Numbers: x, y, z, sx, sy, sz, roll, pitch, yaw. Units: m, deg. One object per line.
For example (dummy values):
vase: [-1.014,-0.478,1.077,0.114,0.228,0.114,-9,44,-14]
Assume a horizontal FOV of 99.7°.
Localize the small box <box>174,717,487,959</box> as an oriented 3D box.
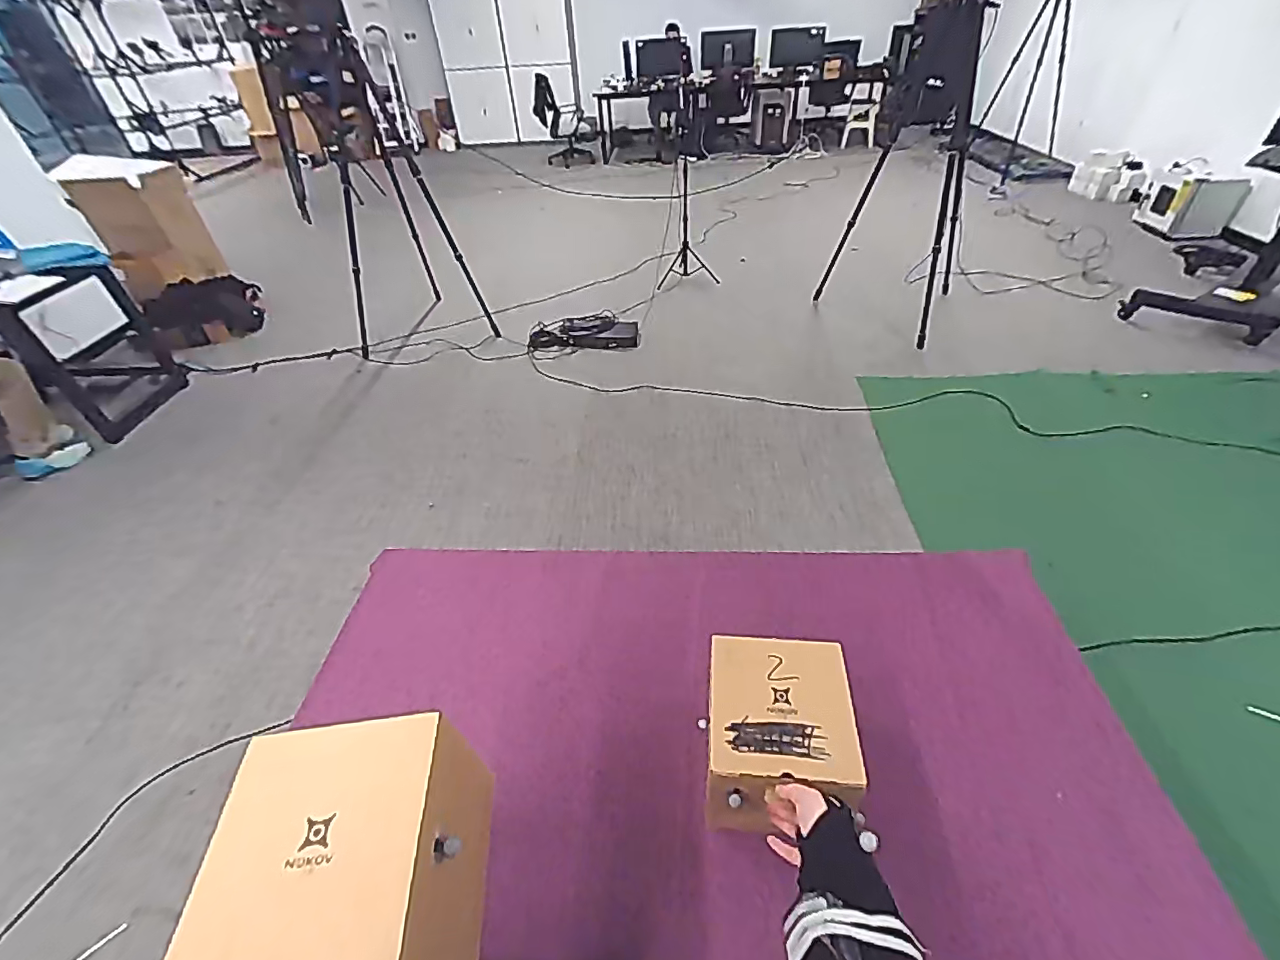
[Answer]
small box: [-0.242,0.338,0.479,0.168,0.176,0.179,-7,45,-1]
